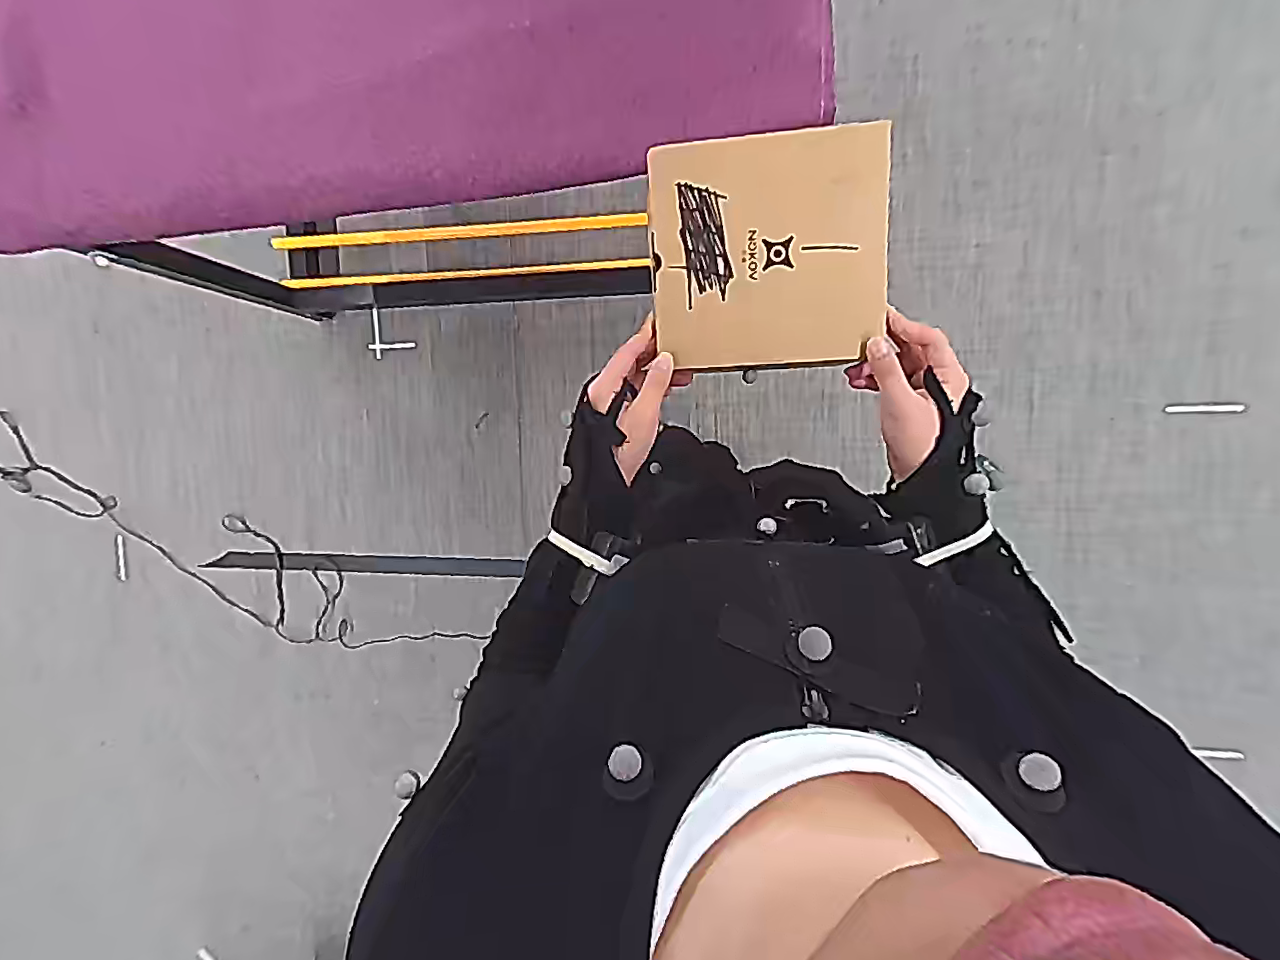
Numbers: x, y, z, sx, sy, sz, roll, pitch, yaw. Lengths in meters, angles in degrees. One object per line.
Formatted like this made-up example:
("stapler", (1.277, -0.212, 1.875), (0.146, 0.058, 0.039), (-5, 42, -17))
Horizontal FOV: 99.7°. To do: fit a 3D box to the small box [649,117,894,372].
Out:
("small box", (0.108, -0.185, 0.481), (0.179, 0.176, 0.168), (-2, 100, 9))
